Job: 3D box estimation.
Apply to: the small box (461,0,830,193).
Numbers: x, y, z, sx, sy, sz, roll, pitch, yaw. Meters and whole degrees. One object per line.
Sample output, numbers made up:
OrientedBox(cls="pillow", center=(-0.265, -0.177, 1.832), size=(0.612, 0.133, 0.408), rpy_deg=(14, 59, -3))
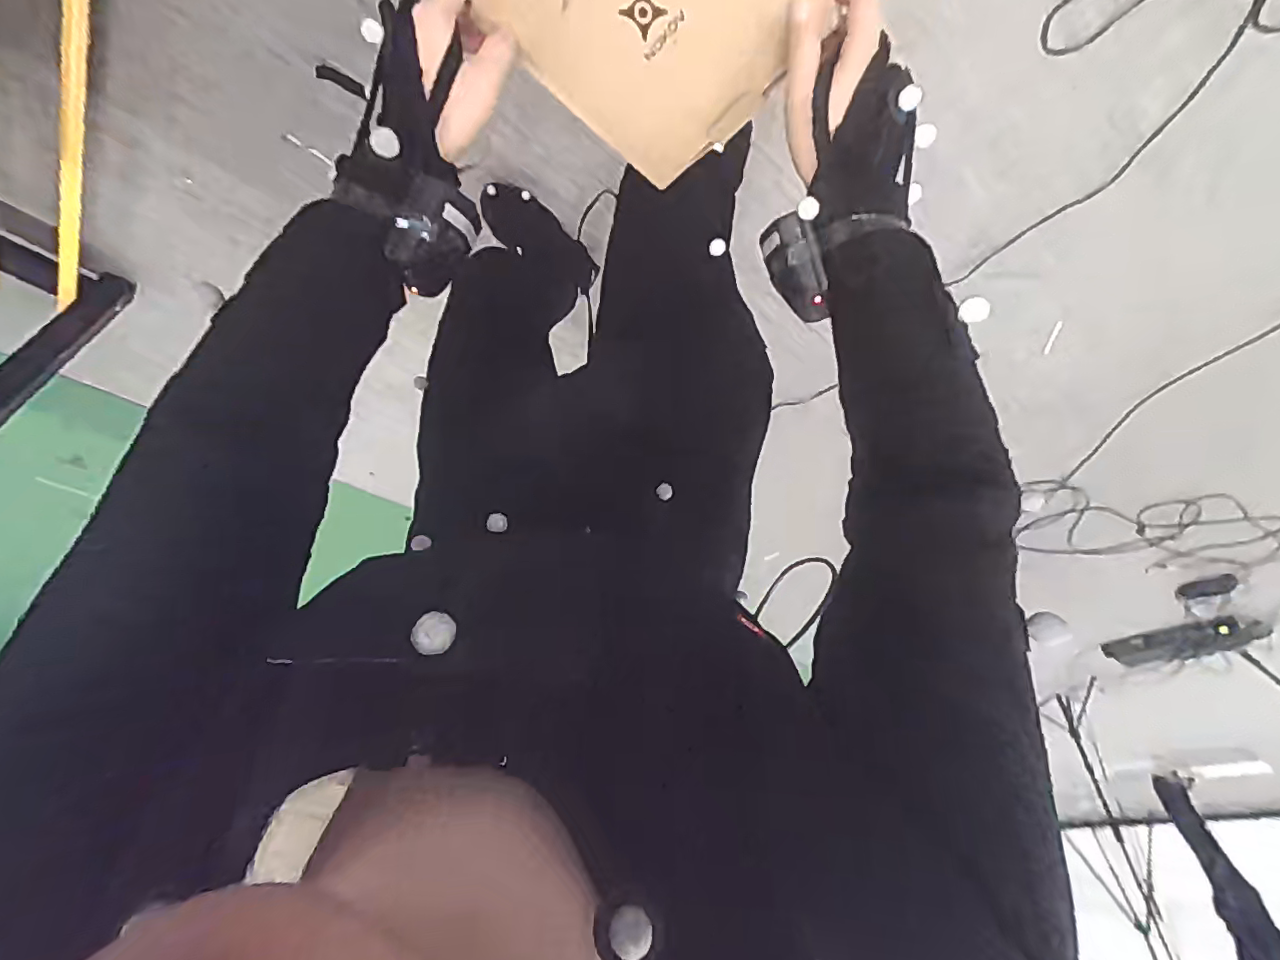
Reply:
OrientedBox(cls="small box", center=(0.012, -0.354, 0.368), size=(0.179, 0.176, 0.168), rpy_deg=(27, 149, -31))
